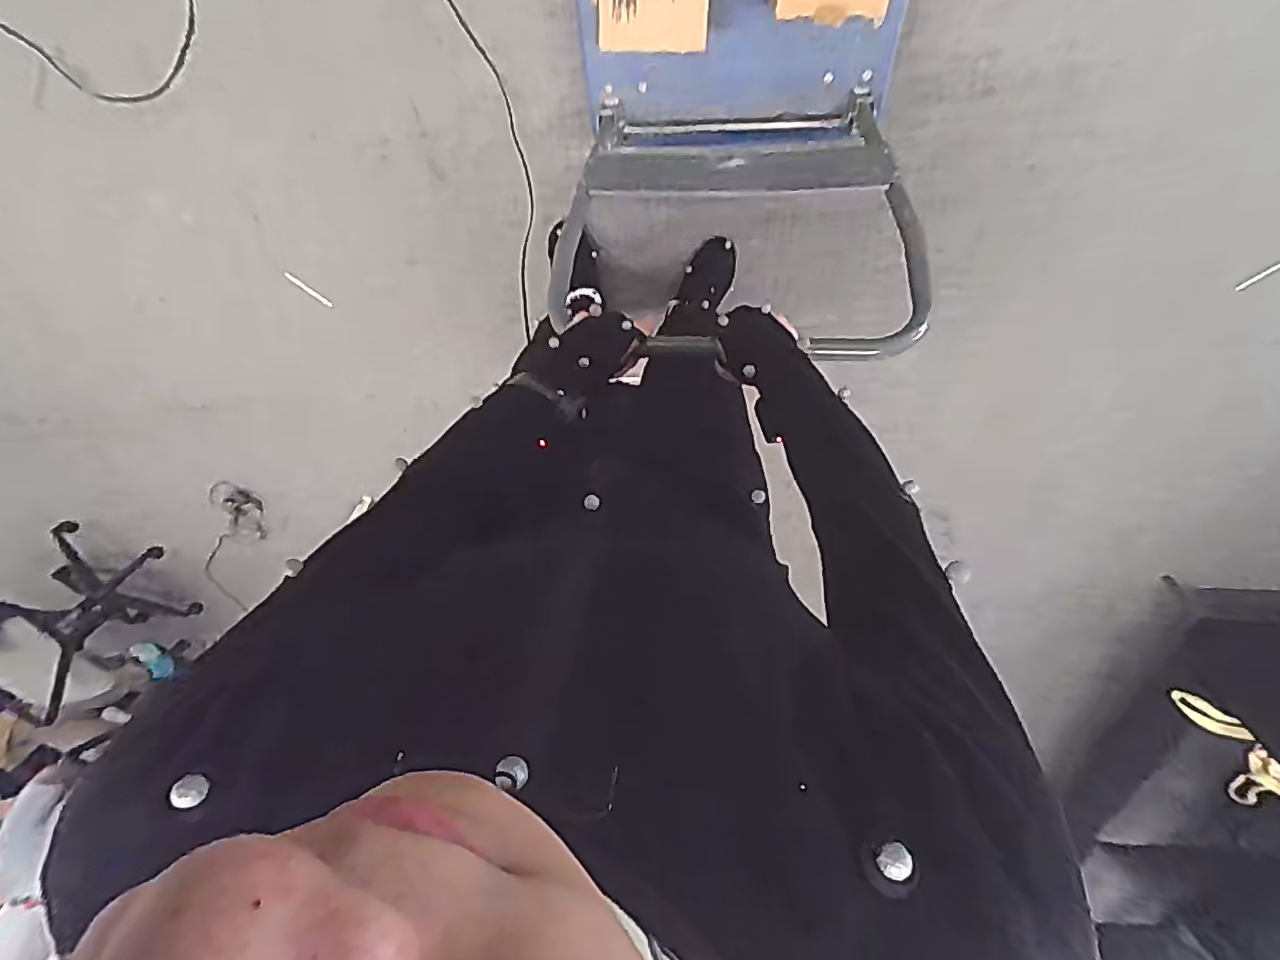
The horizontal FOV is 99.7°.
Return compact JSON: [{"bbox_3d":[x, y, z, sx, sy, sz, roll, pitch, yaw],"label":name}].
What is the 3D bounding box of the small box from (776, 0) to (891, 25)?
[{"bbox_3d":[0.298,-0.812,0.811,0.168,0.176,0.179,5,140,5],"label":"small box"}]
